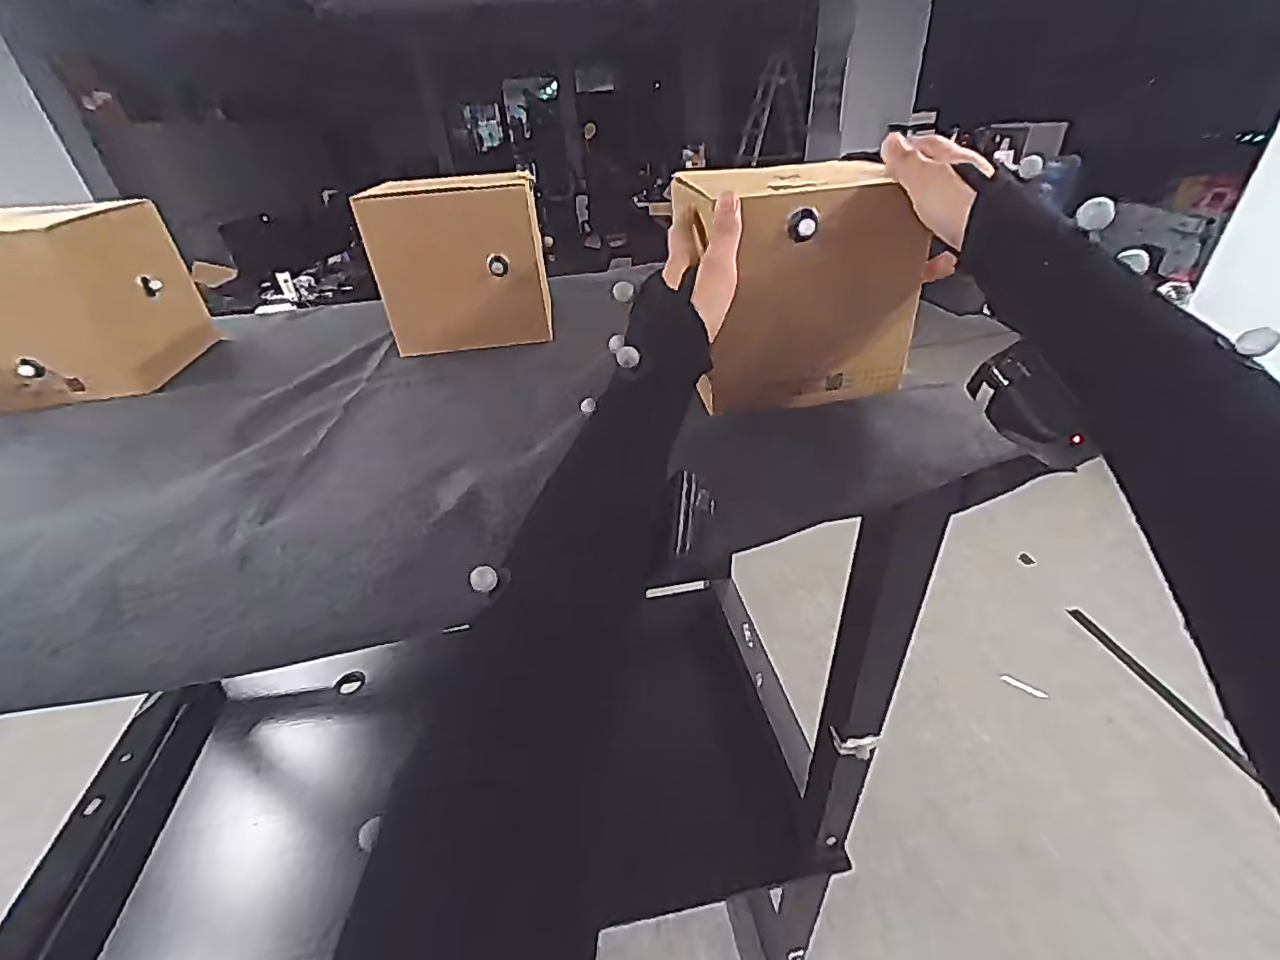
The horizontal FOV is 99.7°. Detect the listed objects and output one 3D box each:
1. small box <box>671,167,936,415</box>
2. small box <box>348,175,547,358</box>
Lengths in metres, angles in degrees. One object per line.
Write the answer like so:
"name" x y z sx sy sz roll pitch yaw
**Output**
"small box" 0.121 -0.173 0.481 0.168 0.176 0.179 -7 33 -3
"small box" -0.209 -0.258 0.648 0.179 0.176 0.168 -7 34 -5
